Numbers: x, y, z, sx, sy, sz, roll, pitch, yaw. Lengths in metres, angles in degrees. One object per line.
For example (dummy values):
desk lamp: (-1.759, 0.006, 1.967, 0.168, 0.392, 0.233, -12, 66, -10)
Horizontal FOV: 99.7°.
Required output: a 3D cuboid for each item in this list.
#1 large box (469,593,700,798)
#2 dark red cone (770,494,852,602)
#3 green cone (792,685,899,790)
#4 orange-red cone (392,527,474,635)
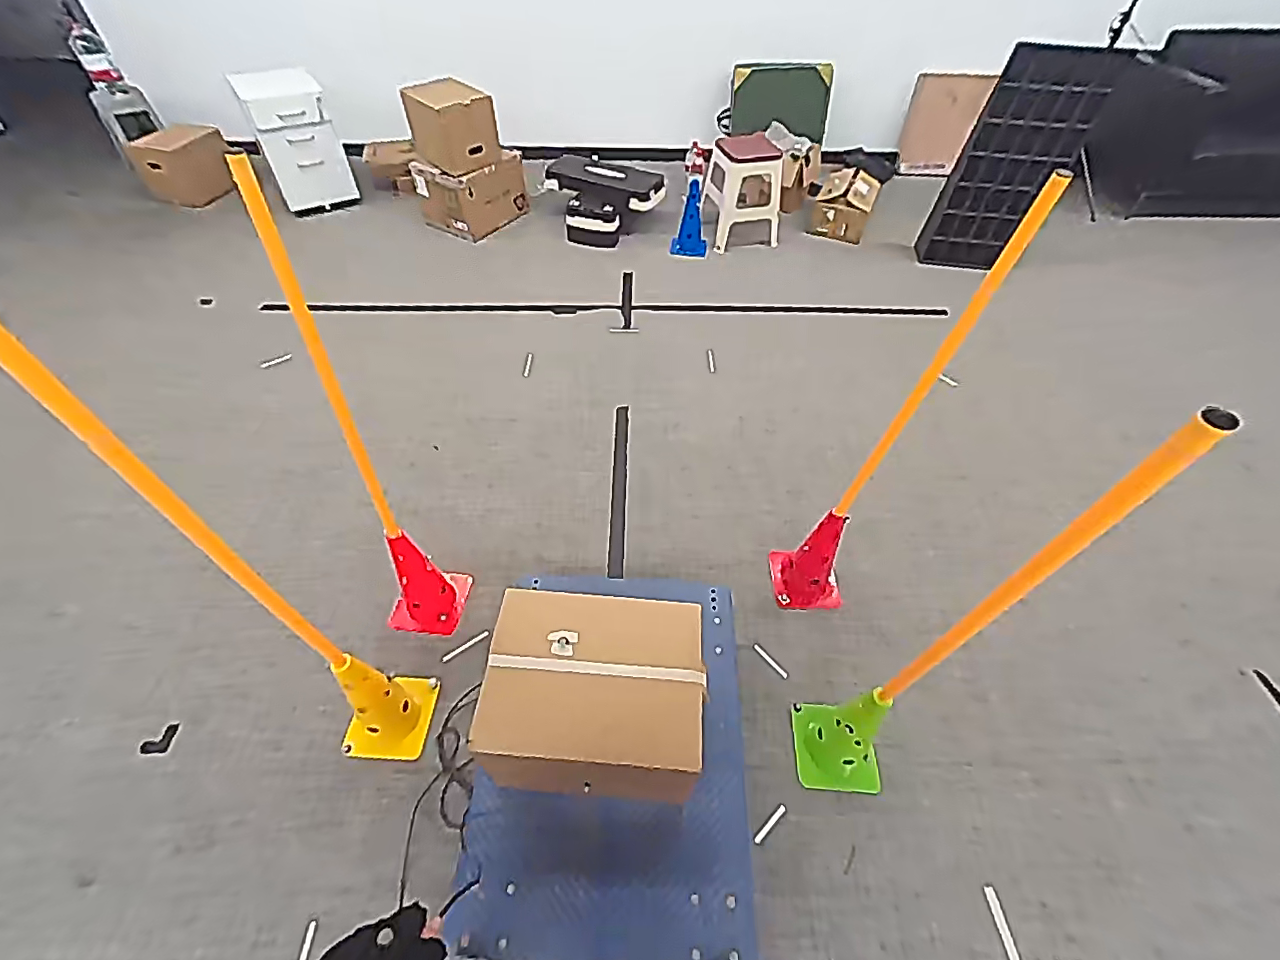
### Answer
large box: (-0.087, 0.456, 1.131, 0.408, 0.320, 0.320, 4, 50, 2)
dark red cone: (0.521, 0.180, 1.547, 0.201, 0.394, 0.202, 2, 50, -2)
green cone: (0.500, 0.560, 1.244, 0.202, 0.368, 0.200, 4, 49, 1)
orange-red cone: (-0.610, 0.248, 1.490, 0.198, 0.360, 0.199, 7, 48, 3)
